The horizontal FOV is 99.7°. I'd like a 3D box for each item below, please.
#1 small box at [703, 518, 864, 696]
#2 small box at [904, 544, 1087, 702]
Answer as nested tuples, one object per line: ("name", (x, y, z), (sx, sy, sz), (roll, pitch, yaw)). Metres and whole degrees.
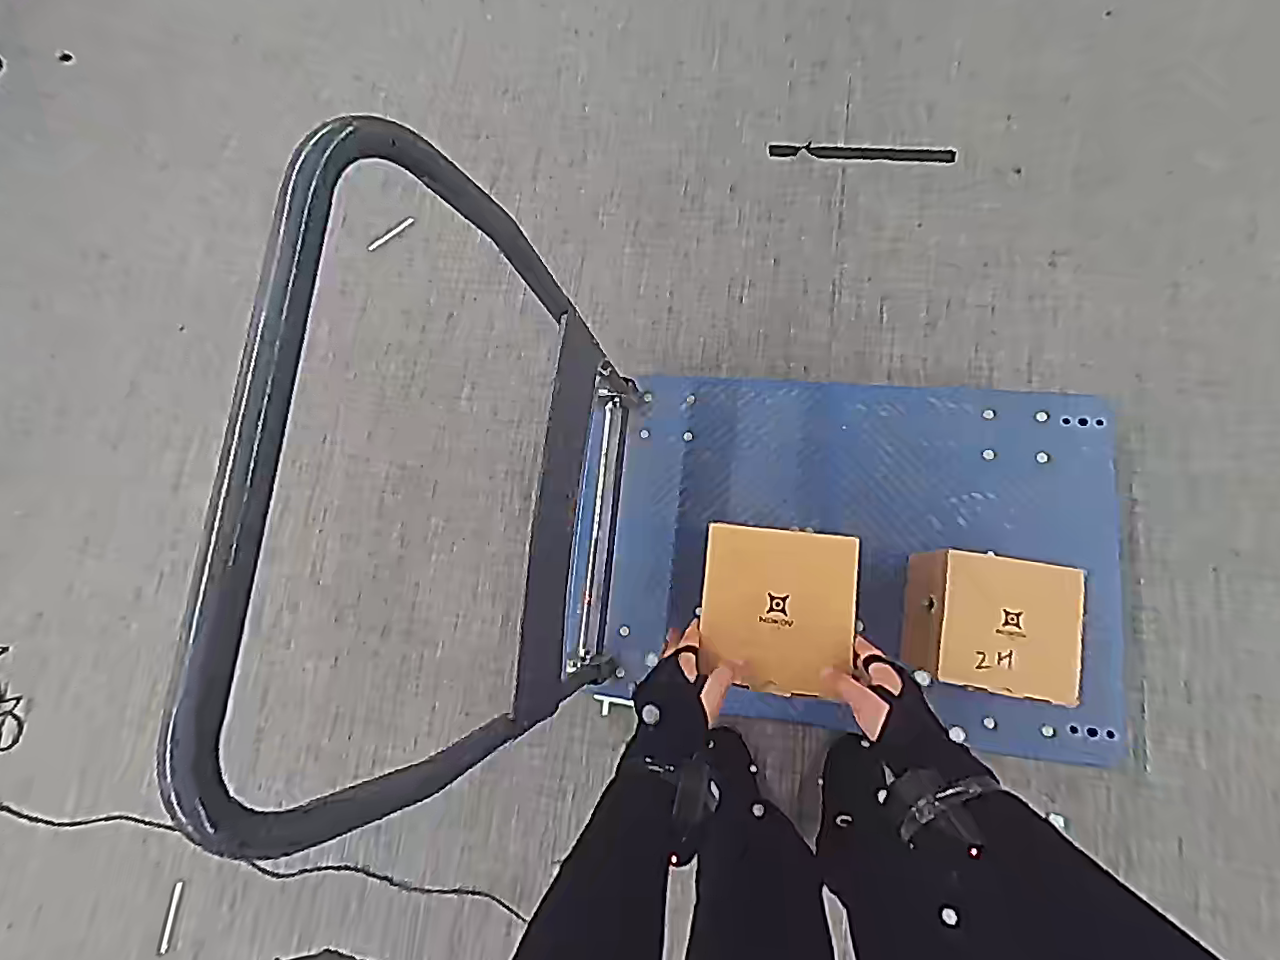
("small box", (0.166, 0.150, 0.666), (0.168, 0.176, 0.179), (4, 79, 9))
("small box", (0.496, 0.196, 0.777), (0.168, 0.176, 0.179), (8, 81, 11))
